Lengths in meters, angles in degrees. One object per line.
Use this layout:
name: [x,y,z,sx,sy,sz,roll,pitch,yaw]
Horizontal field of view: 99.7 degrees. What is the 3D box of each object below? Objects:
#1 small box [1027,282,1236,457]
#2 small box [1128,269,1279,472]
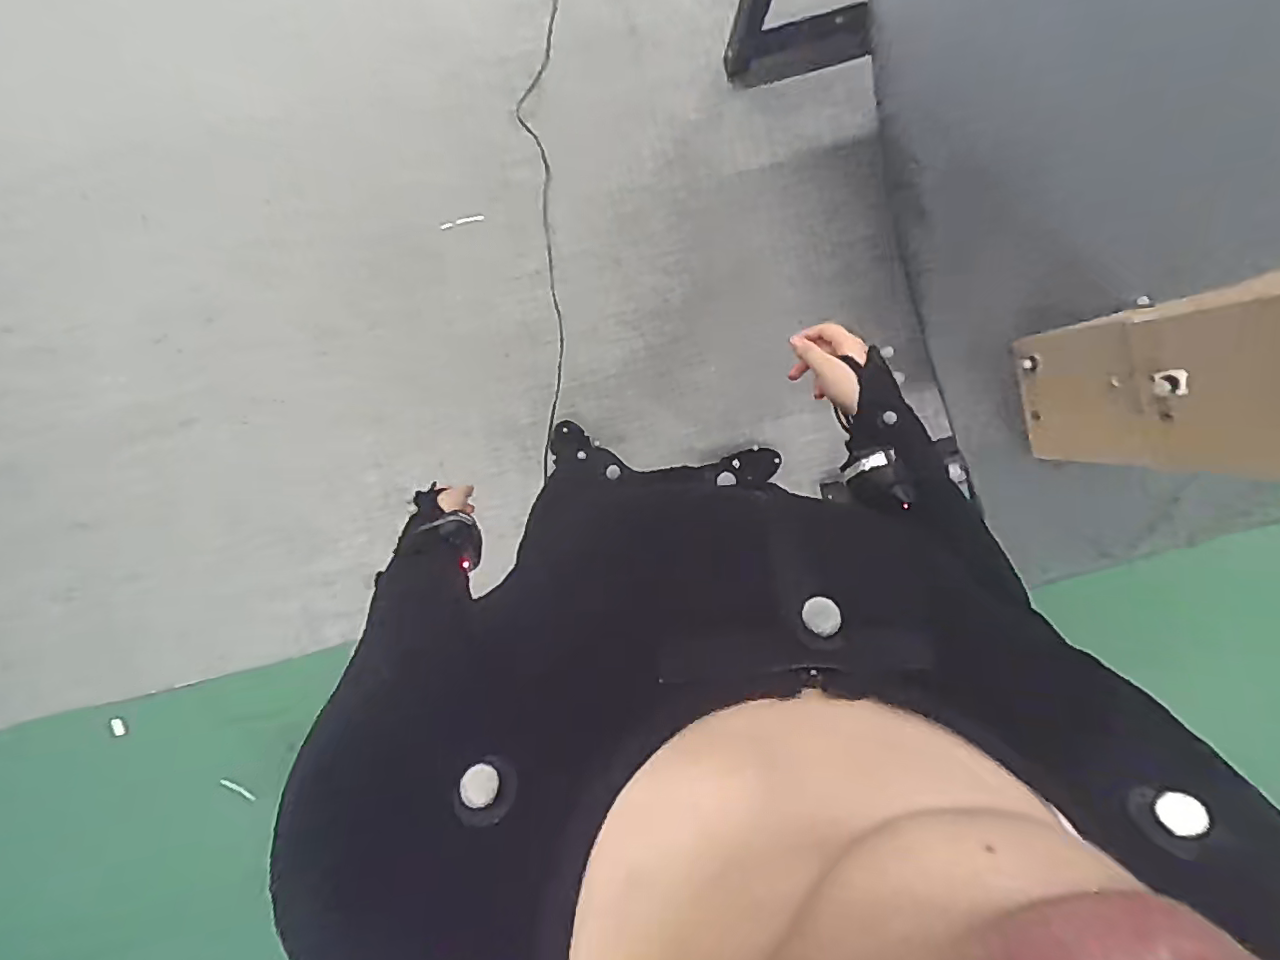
small box: [0.614,-0.128,0.661,0.179,0.176,0.168,-15,96,-3]
small box: [0.620,-0.112,0.499,0.179,0.176,0.168,-19,95,-1]
